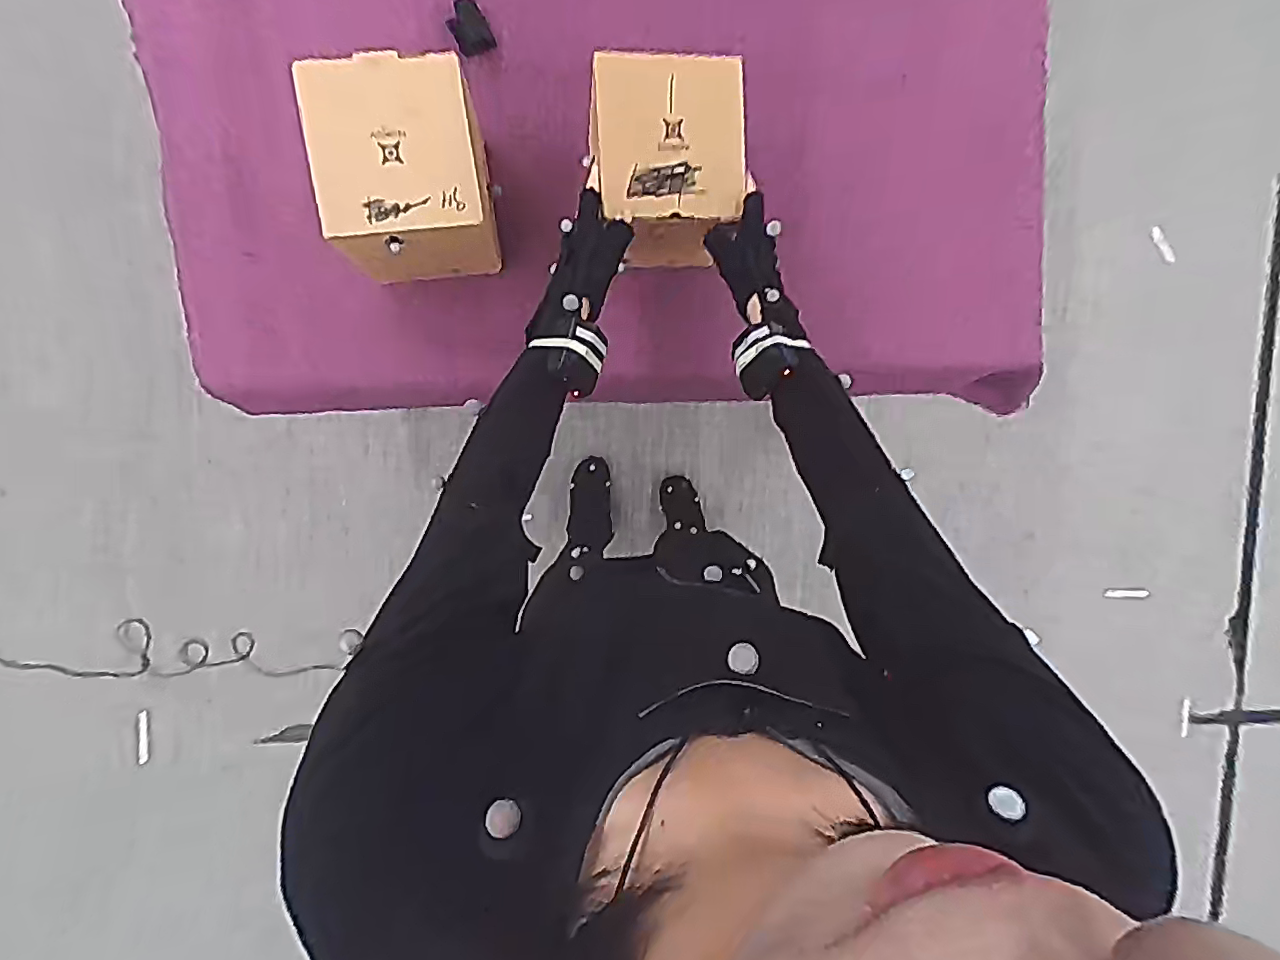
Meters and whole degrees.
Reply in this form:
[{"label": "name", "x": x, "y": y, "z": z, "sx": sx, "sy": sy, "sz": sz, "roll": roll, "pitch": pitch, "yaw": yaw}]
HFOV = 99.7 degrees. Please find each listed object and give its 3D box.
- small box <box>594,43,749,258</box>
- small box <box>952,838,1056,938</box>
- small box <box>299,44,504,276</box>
[{"label": "small box", "x": 0.031, "y": -0.387, "z": 0.668, "sx": 0.168, "sy": 0.176, "sz": 0.179, "roll": -3, "pitch": 93, "yaw": -7}, {"label": "small box", "x": 1.111, "y": 1.244, "z": 1.660, "sx": 0.179, "sy": 0.176, "sz": 0.168, "roll": 17, "pitch": 91, "yaw": -7}, {"label": "small box", "x": -0.262, "y": -0.359, "z": 0.634, "sx": 0.168, "sy": 0.176, "sz": 0.179, "roll": -8, "pitch": 94, "yaw": -6}]
